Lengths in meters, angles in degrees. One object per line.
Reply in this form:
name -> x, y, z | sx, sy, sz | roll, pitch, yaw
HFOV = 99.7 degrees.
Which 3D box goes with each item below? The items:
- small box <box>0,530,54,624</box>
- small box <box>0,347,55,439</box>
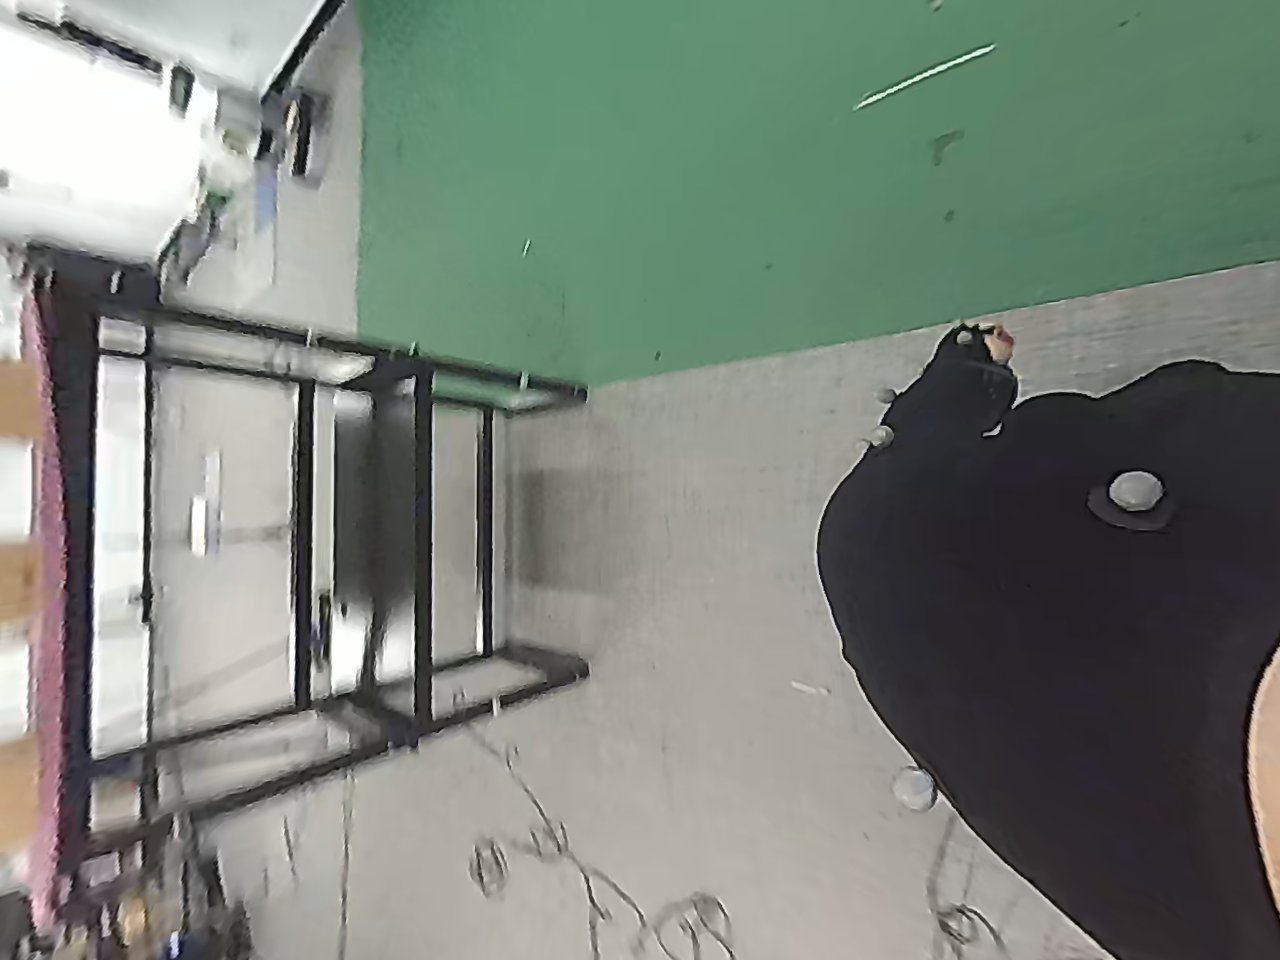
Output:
small box -> -1.268, 0.187, 1.051 | 0.179, 0.176, 0.168 | 2, 90, 40
small box -> -1.292, -0.174, 1.074 | 0.168, 0.176, 0.179 | 7, 94, 42
